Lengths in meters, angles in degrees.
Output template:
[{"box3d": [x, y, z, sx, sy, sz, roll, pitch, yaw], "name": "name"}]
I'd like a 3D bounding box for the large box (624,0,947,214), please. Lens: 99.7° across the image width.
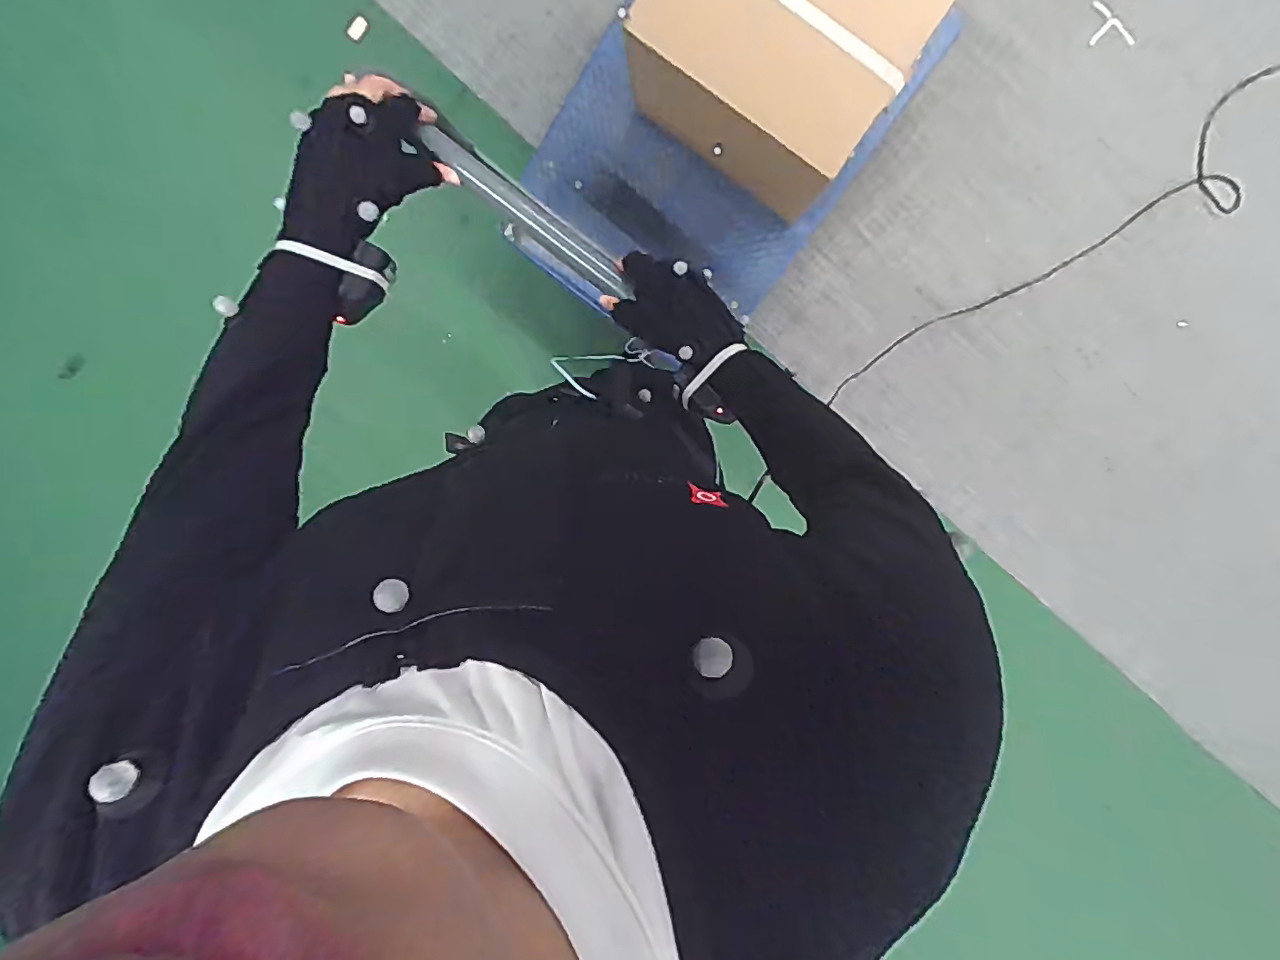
[{"box3d": [0.235, -0.749, 0.953, 0.408, 0.320, 0.320, 33, 103, -3], "name": "large box"}]
